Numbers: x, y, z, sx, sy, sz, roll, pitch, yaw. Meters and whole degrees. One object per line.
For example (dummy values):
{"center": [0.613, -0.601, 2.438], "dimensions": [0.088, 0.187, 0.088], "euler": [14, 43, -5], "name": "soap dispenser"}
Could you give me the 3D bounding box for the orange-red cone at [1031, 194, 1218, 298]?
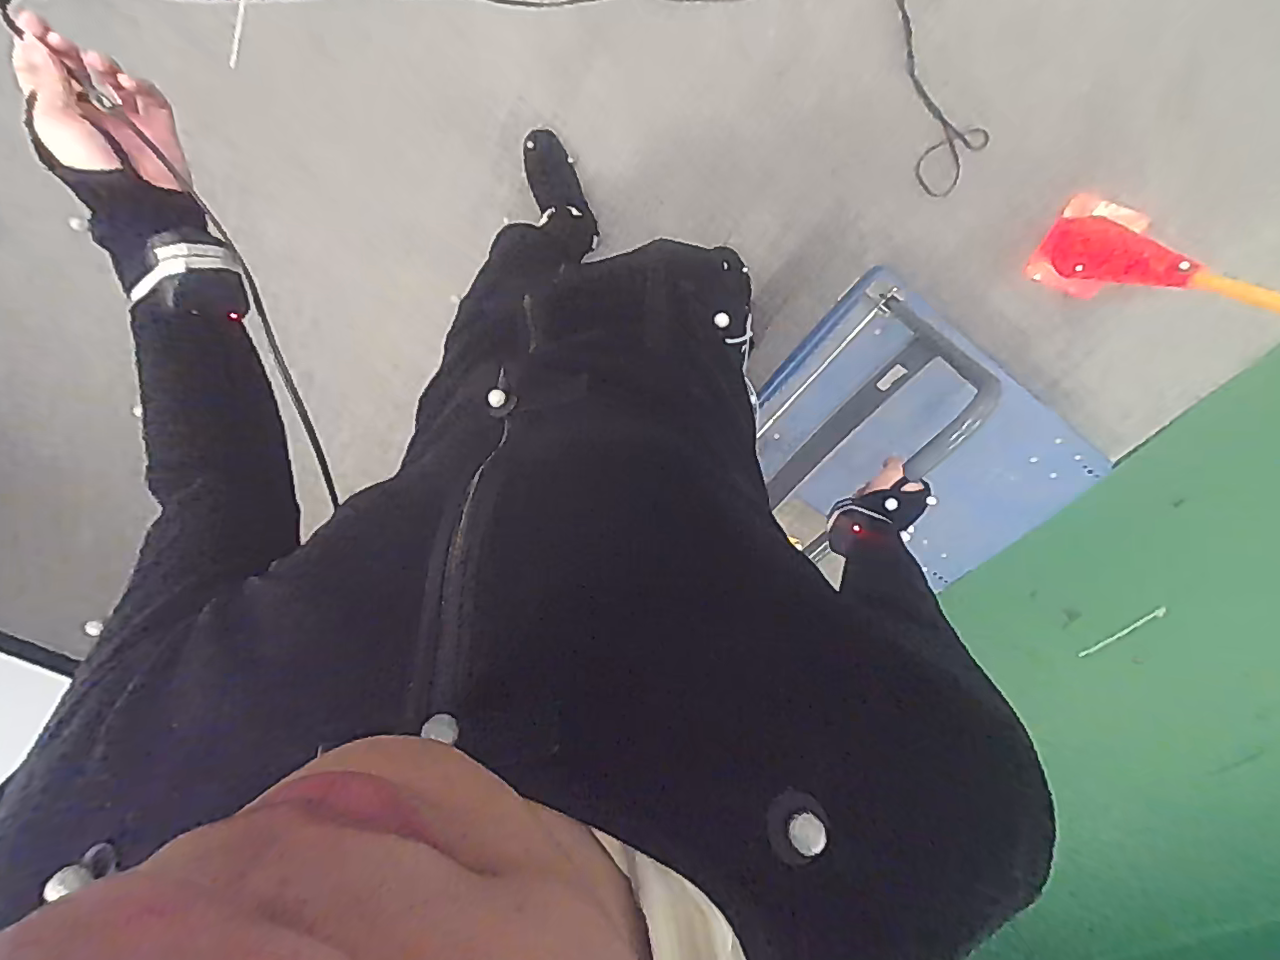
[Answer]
{"center": [1.071, -0.471, 1.159], "dimensions": [0.198, 0.360, 0.199], "euler": [18, 121, -7], "name": "orange-red cone"}
